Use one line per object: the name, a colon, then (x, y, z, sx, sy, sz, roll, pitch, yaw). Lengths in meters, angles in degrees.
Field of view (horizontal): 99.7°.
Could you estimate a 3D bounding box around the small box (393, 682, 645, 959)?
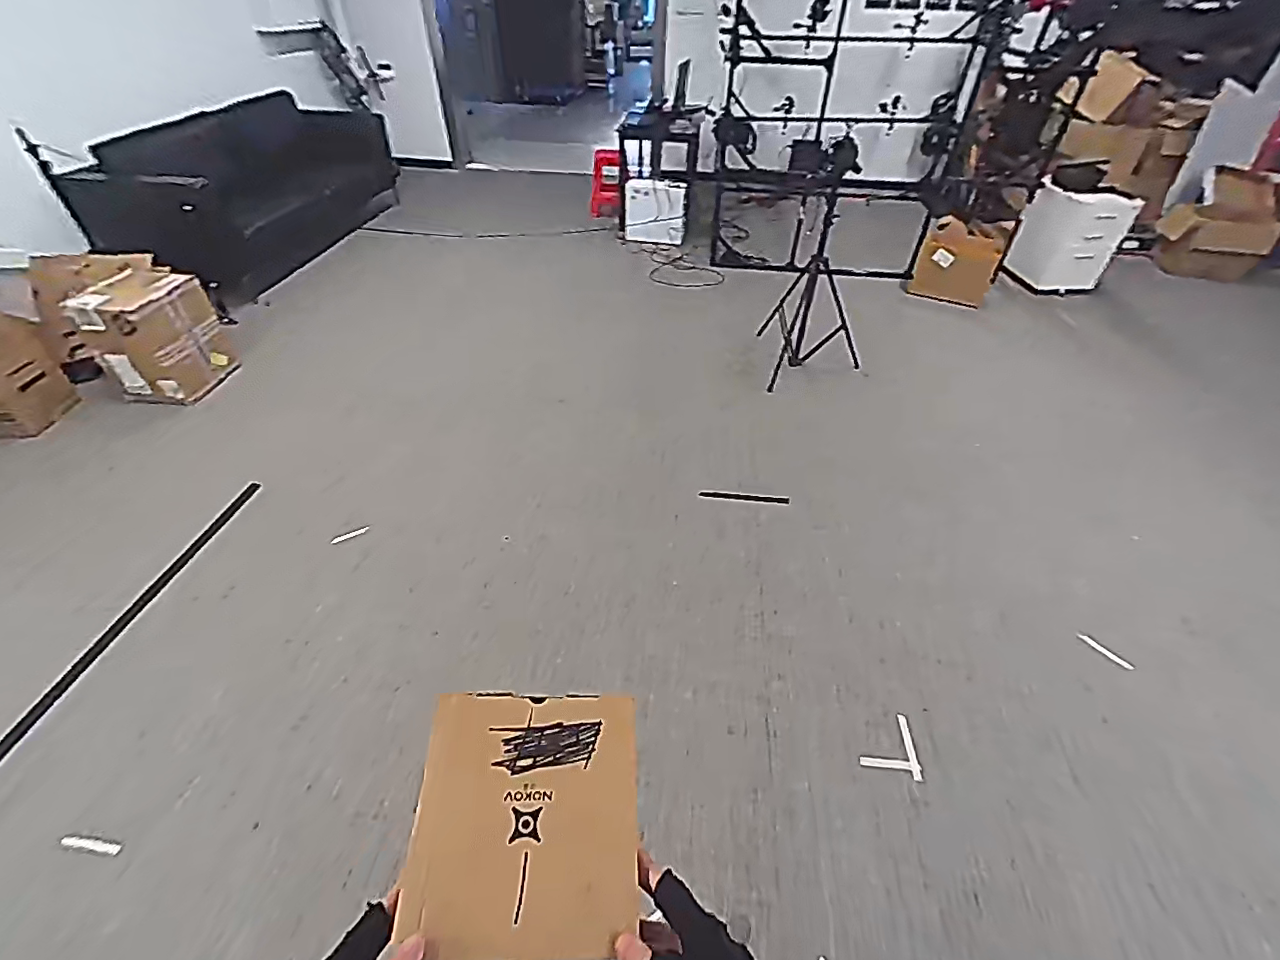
small box: (-0.090, 0.293, 0.464, 0.168, 0.176, 0.179, 4, 49, -7)
